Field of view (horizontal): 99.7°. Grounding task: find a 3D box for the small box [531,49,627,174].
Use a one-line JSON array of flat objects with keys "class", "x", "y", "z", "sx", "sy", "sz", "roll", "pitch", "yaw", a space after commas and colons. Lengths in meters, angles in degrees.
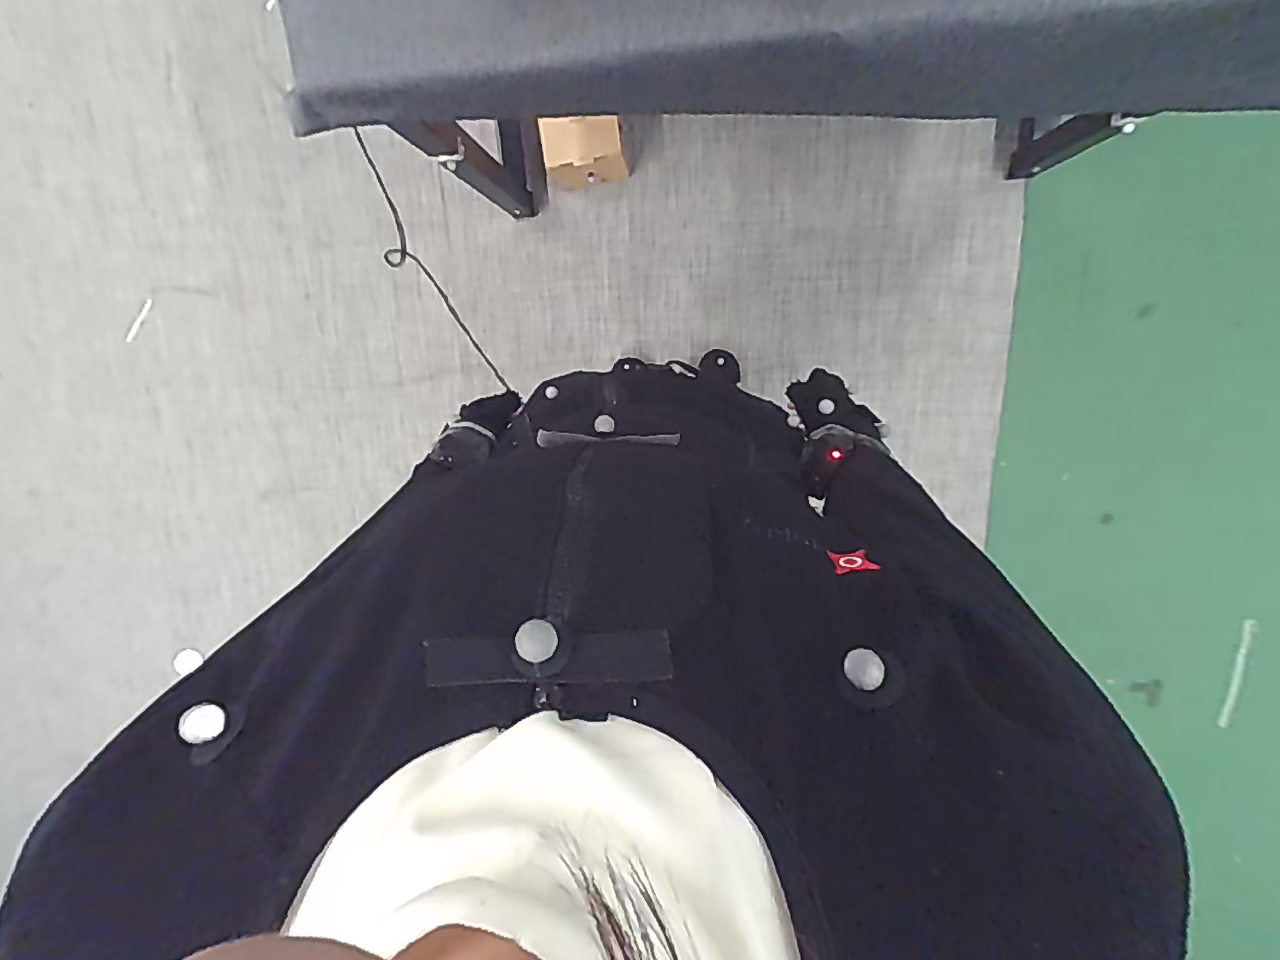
[{"class": "small box", "x": -0.123, "y": -0.786, "z": 1.175, "sx": 0.168, "sy": 0.176, "sz": 0.179, "roll": -6, "pitch": 105, "yaw": 6}]
